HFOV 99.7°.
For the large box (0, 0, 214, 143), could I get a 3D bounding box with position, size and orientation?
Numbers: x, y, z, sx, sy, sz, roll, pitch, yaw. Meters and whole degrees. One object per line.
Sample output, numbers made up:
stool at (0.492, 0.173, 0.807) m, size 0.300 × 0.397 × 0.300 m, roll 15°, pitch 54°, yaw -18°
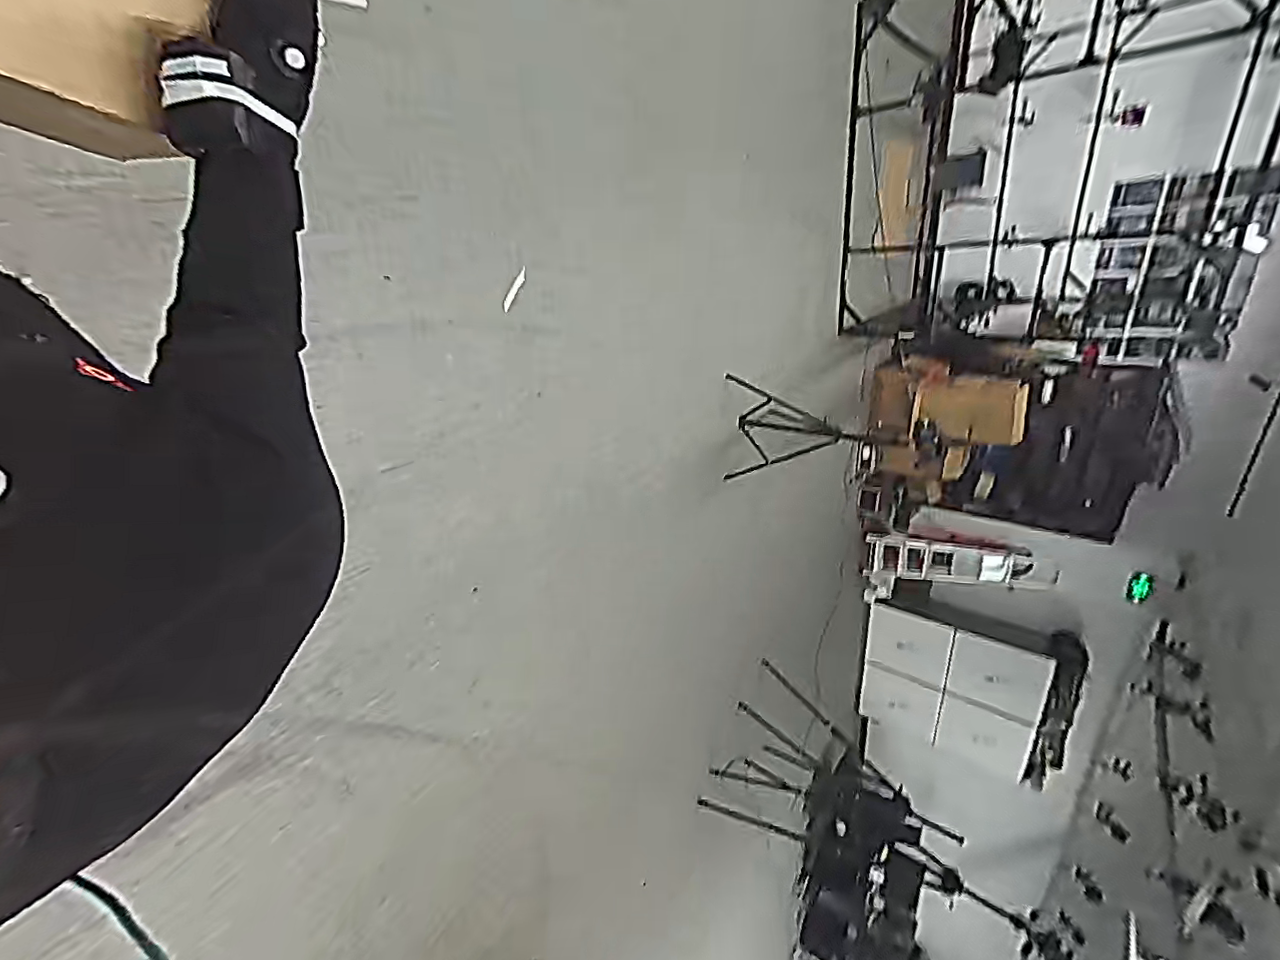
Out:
large box at (-0.545, -0.451, 0.316) m, size 0.408 × 0.320 × 0.320 m, roll -6°, pitch 113°, yaw -55°
